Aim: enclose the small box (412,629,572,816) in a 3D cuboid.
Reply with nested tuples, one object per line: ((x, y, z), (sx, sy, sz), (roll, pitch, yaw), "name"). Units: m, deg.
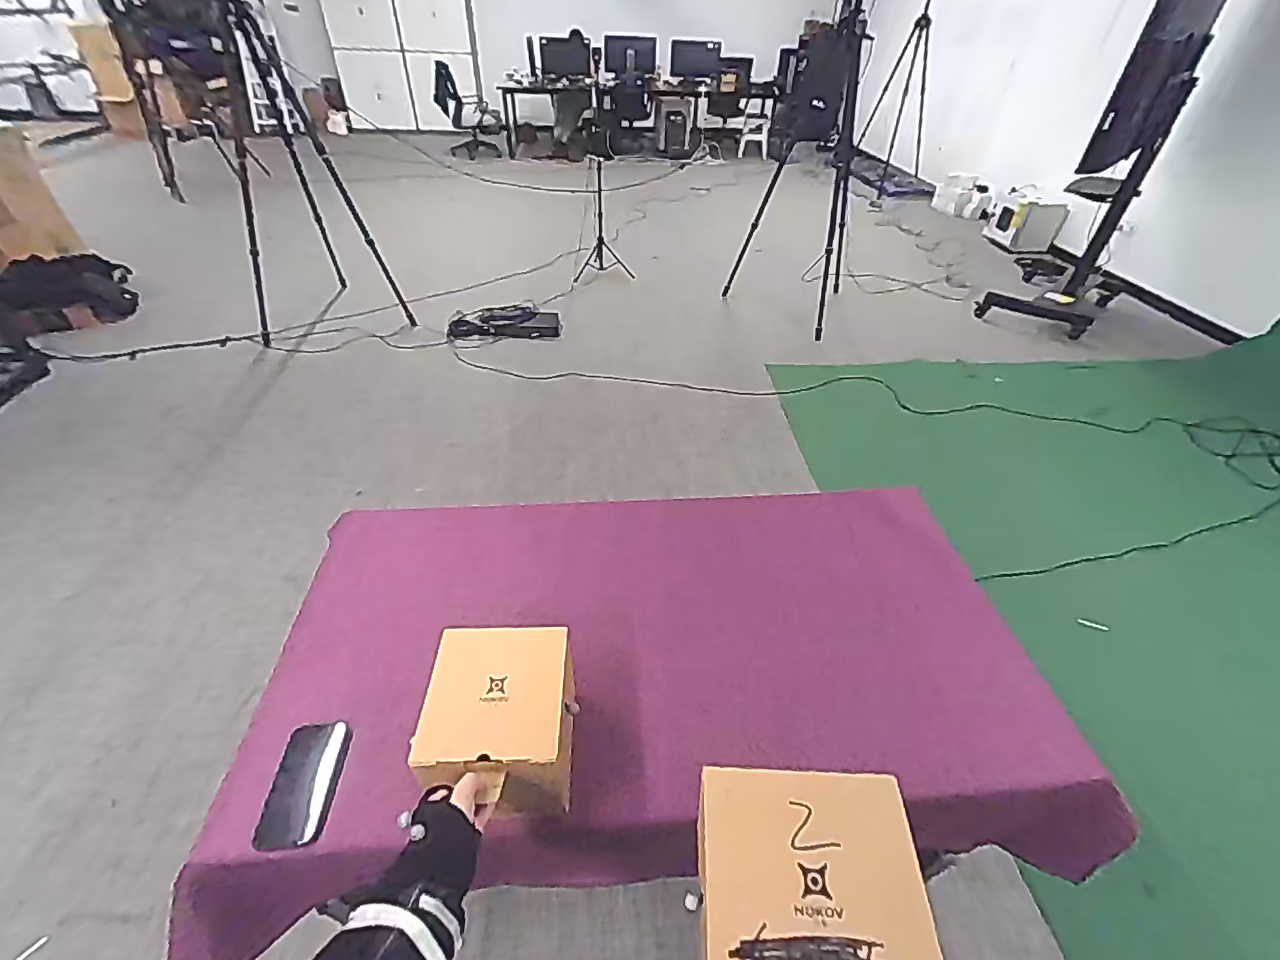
((-0.179, 0.319, 0.718), (0.168, 0.176, 0.179), (0, 41, -3), "small box")
